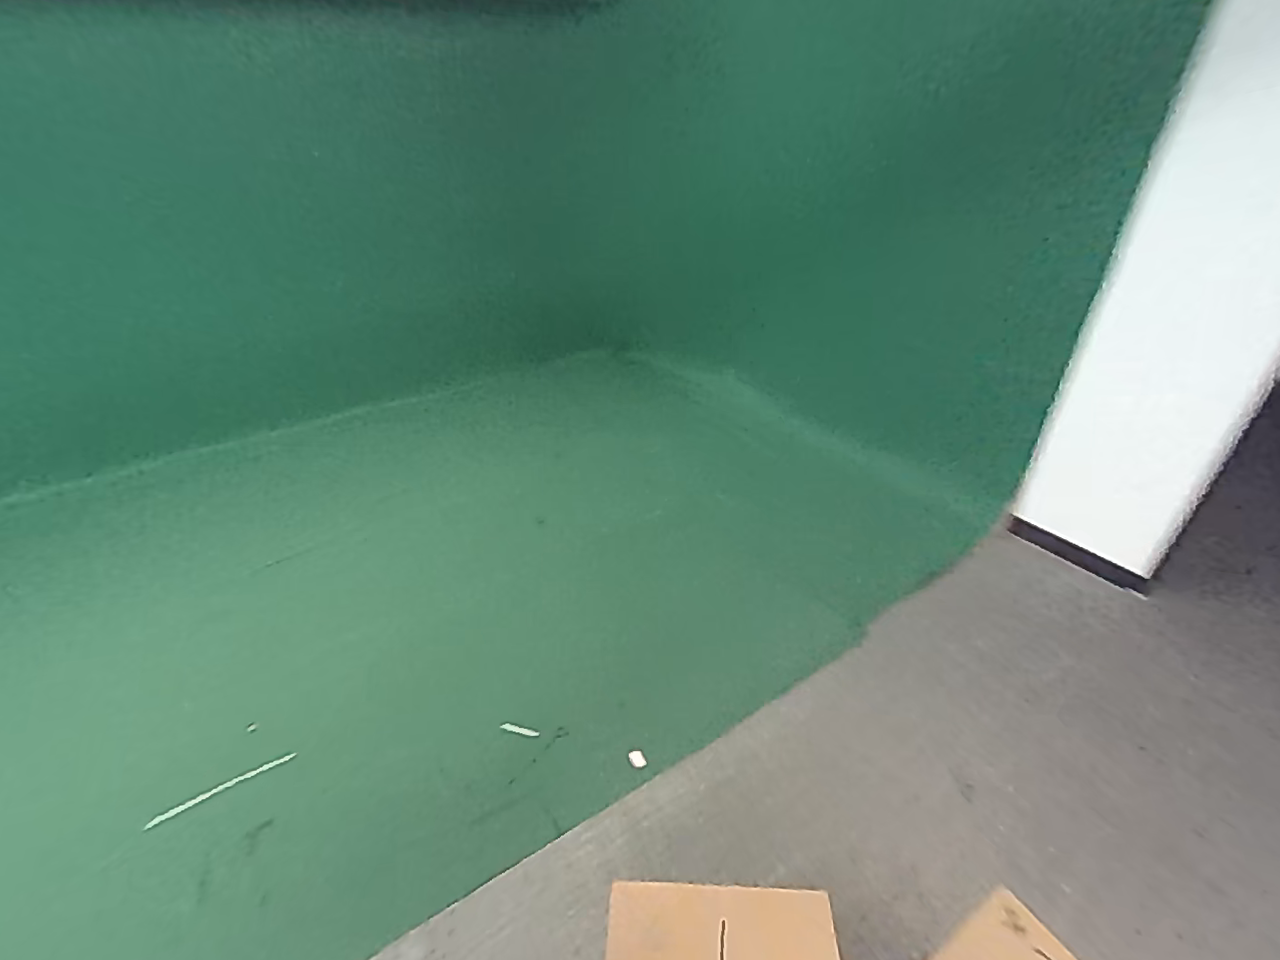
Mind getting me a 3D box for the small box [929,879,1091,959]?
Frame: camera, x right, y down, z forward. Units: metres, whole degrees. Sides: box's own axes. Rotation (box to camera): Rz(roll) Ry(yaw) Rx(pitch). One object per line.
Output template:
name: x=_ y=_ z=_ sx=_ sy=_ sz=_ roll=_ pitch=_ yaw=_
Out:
small box: x=0.398 y=0.589 z=0.577 sx=0.179 sy=0.176 sz=0.168 roll=-23 pitch=40 yaw=-23
